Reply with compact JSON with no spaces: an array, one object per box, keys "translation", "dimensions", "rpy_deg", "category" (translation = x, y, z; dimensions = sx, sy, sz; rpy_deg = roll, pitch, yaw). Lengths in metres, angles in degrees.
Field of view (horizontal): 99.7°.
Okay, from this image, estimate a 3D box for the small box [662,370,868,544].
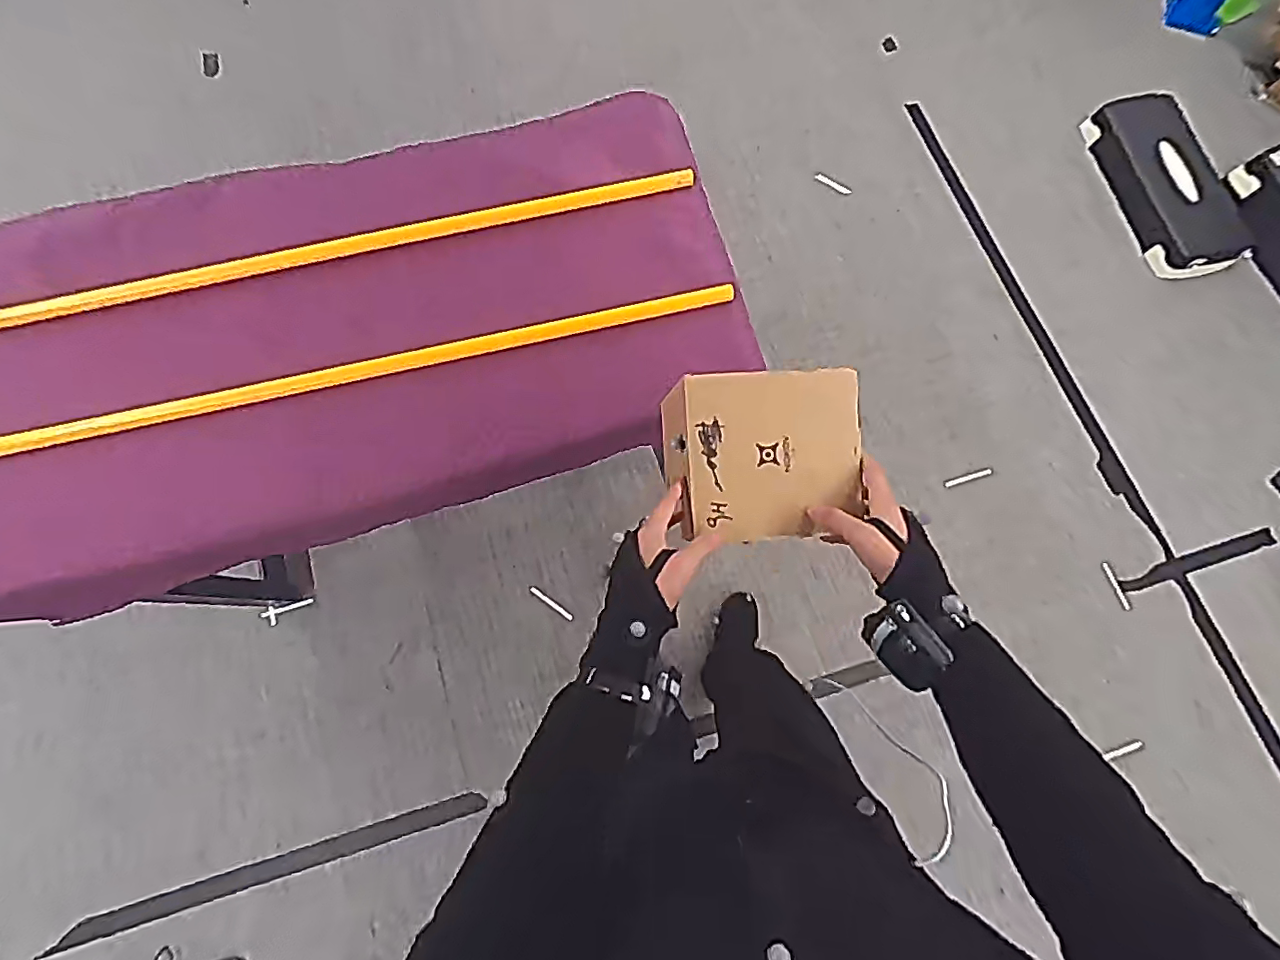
[{"translation":[0.126,-0.025,0.600],"dimensions":[0.179,0.176,0.168],"rpy_deg":[-3,90,-6],"category":"small box"}]
